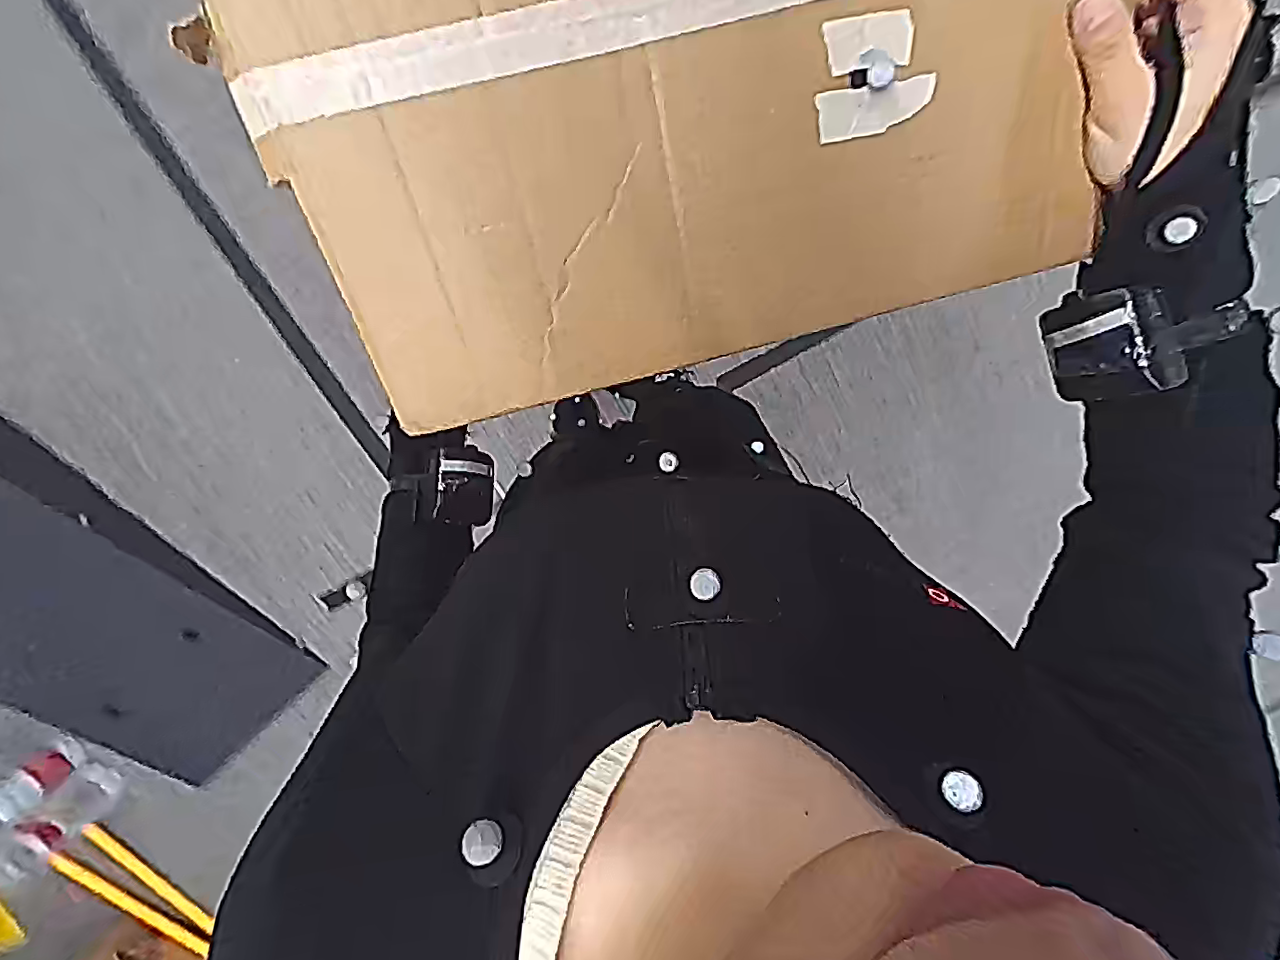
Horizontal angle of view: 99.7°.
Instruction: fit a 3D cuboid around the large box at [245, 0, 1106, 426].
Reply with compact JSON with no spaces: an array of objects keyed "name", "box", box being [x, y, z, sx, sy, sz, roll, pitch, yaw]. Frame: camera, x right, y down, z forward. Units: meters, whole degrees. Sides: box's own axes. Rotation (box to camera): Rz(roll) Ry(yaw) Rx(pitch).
[{"name":"large box","box":[0.010,-0.272,0.385,0.408,0.320,0.320,-15,116,-4]}]
